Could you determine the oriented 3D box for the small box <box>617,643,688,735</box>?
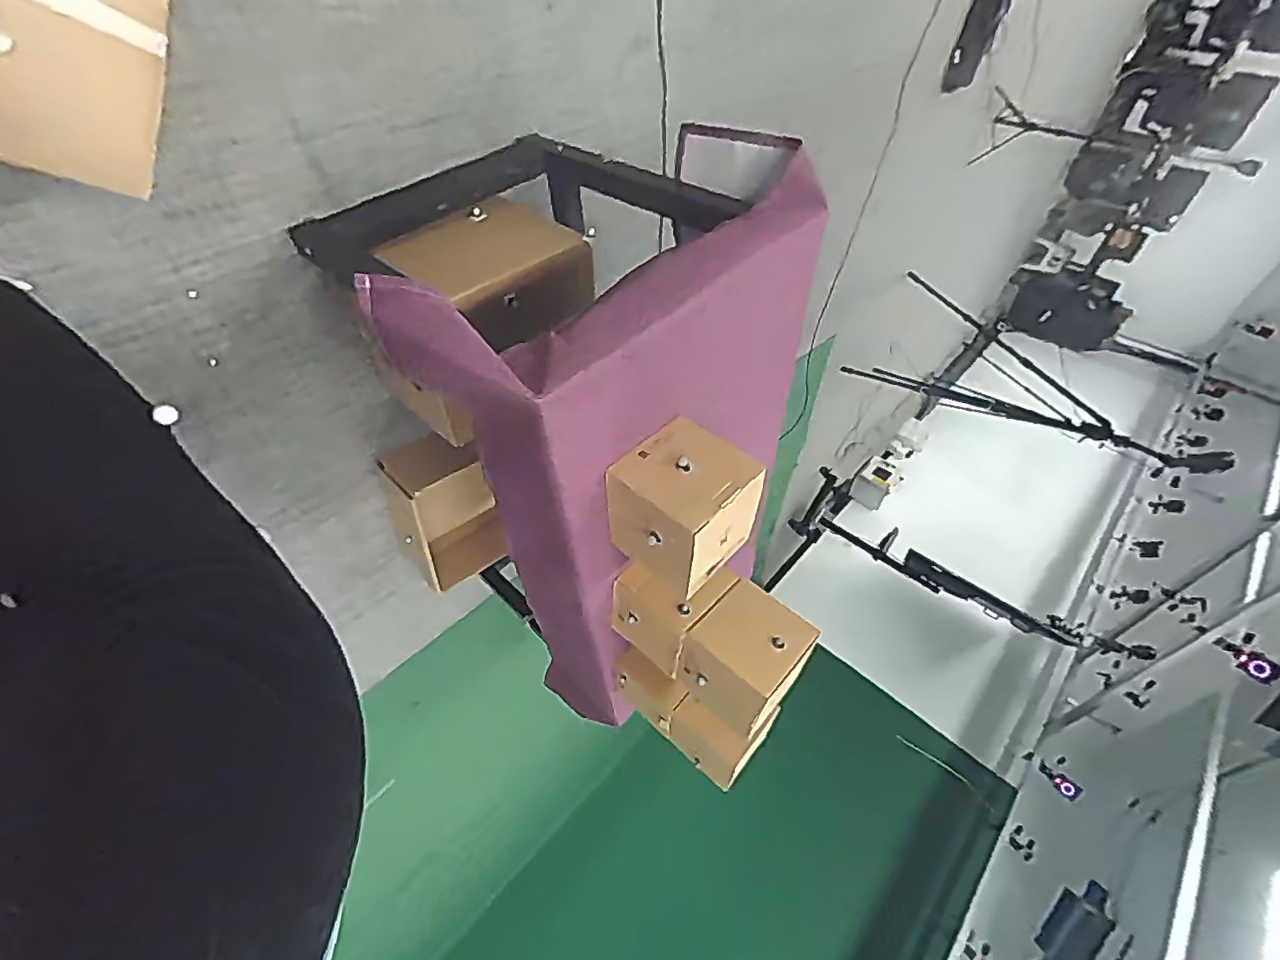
[{"bbox_3d":[0.058,0.460,1.290,0.179,0.176,0.168,-38,148,-30],"label":"small box"}]

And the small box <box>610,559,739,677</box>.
[{"bbox_3d":[0.063,0.237,1.059,0.179,0.176,0.168,-34,146,-33],"label":"small box"}]

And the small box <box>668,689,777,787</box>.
[{"bbox_3d":[0.178,0.544,1.219,0.168,0.176,0.179,-38,147,-31],"label":"small box"}]

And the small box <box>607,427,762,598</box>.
[{"bbox_3d":[0.062,0.040,0.835,0.168,0.176,0.179,-37,147,-29],"label":"small box"}]

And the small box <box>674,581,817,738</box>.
[{"bbox_3d":[0.187,0.318,0.987,0.179,0.176,0.168,-33,145,-34],"label":"small box"}]
